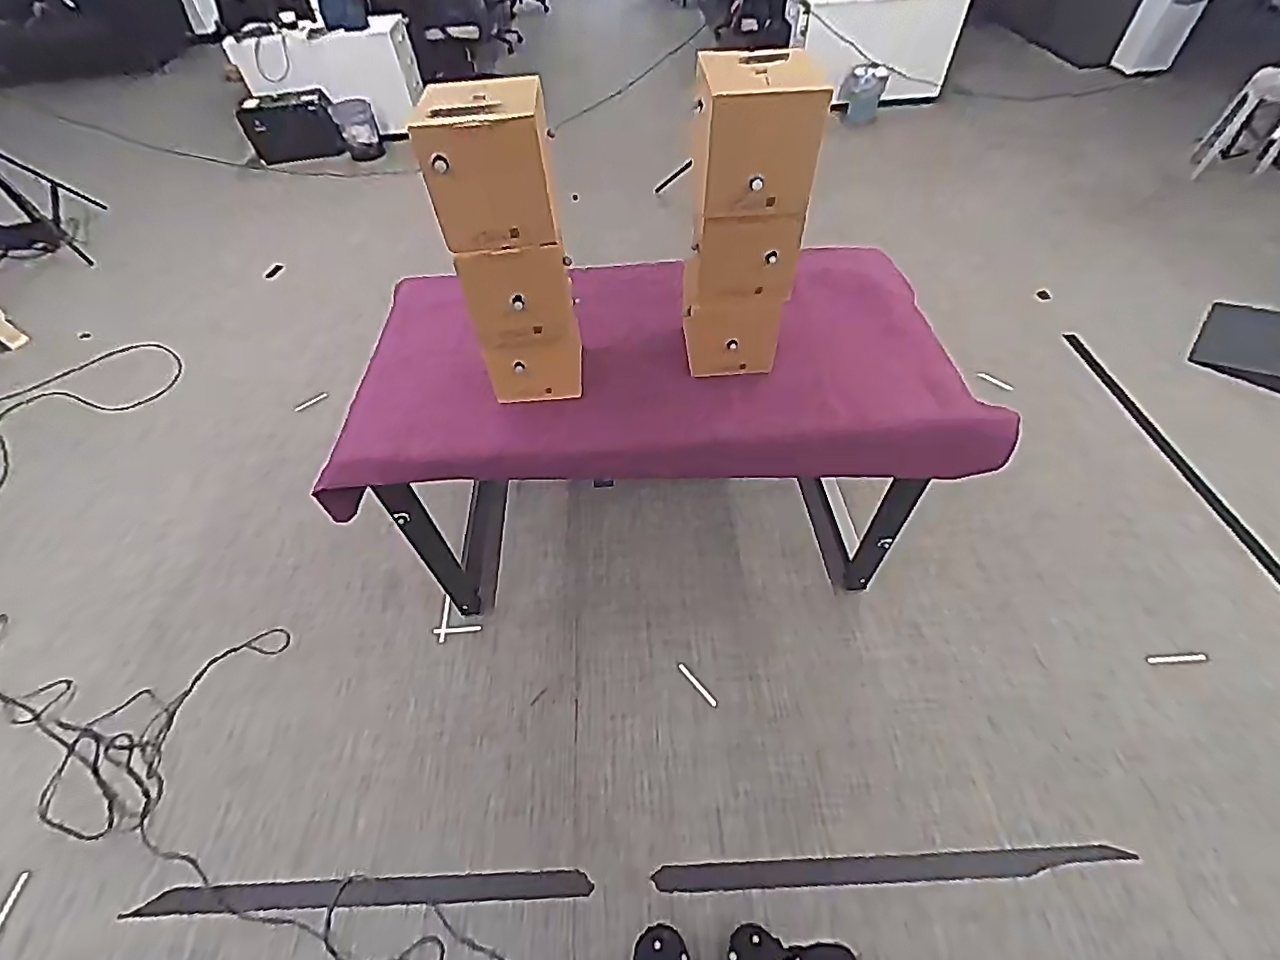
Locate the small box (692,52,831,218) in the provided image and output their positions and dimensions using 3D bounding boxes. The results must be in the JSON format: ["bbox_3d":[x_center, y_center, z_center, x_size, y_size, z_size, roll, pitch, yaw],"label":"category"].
[{"bbox_3d":[0.172,-0.527,0.831,0.168,0.176,0.179,-3,53,0],"label":"small box"}]

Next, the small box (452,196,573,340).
[{"bbox_3d":[-0.211,-0.356,0.928,0.168,0.176,0.179,-8,53,-3],"label":"small box"}]

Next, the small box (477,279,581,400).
[{"bbox_3d":[-0.209,-0.272,1.071,0.168,0.176,0.179,-4,52,0],"label":"small box"}]

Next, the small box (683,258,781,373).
[{"bbox_3d":[0.177,-0.330,1.092,0.168,0.176,0.179,-4,52,0],"label":"small box"}]

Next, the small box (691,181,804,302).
[{"bbox_3d":[0.181,-0.433,0.967,0.168,0.176,0.179,-2,52,0],"label":"small box"}]
